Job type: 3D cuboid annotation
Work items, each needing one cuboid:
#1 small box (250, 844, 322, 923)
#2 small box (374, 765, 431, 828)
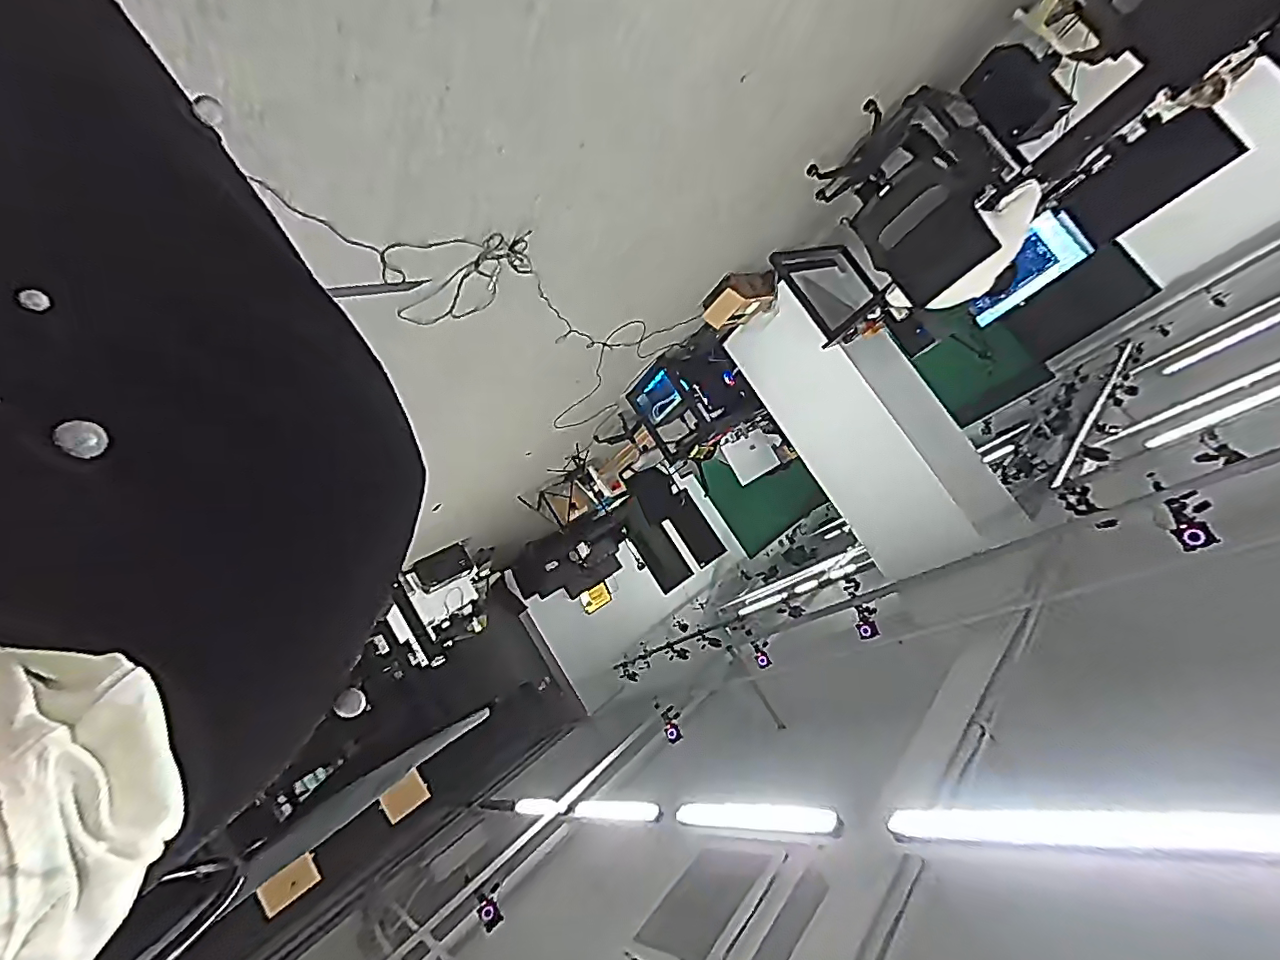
[{"bbox_3d":[-1.335,1.509,2.038,0.179,0.176,0.168,-26,169,-42],"label":"small box"},{"bbox_3d":[-1.025,1.354,2.324,0.168,0.176,0.179,-29,171,-36],"label":"small box"}]
